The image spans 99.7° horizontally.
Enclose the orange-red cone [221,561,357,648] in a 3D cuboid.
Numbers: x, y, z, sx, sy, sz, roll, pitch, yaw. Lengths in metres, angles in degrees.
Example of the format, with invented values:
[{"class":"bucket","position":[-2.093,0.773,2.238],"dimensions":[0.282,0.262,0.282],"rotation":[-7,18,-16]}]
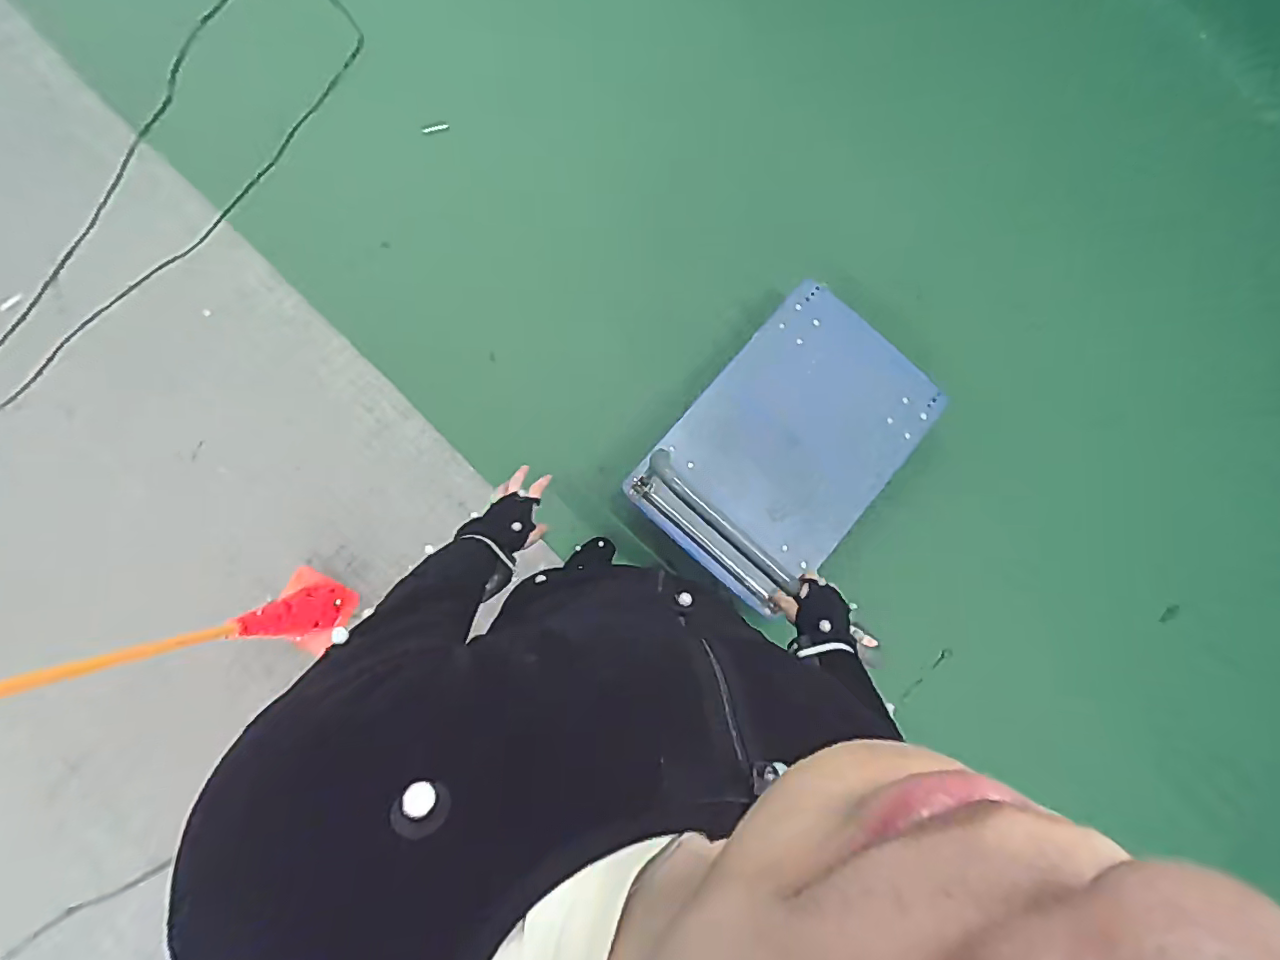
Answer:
[{"class":"orange-red cone","position":[-0.930,0.333,1.378],"dimensions":[0.199,0.360,0.198],"rotation":[31,81,1]}]
